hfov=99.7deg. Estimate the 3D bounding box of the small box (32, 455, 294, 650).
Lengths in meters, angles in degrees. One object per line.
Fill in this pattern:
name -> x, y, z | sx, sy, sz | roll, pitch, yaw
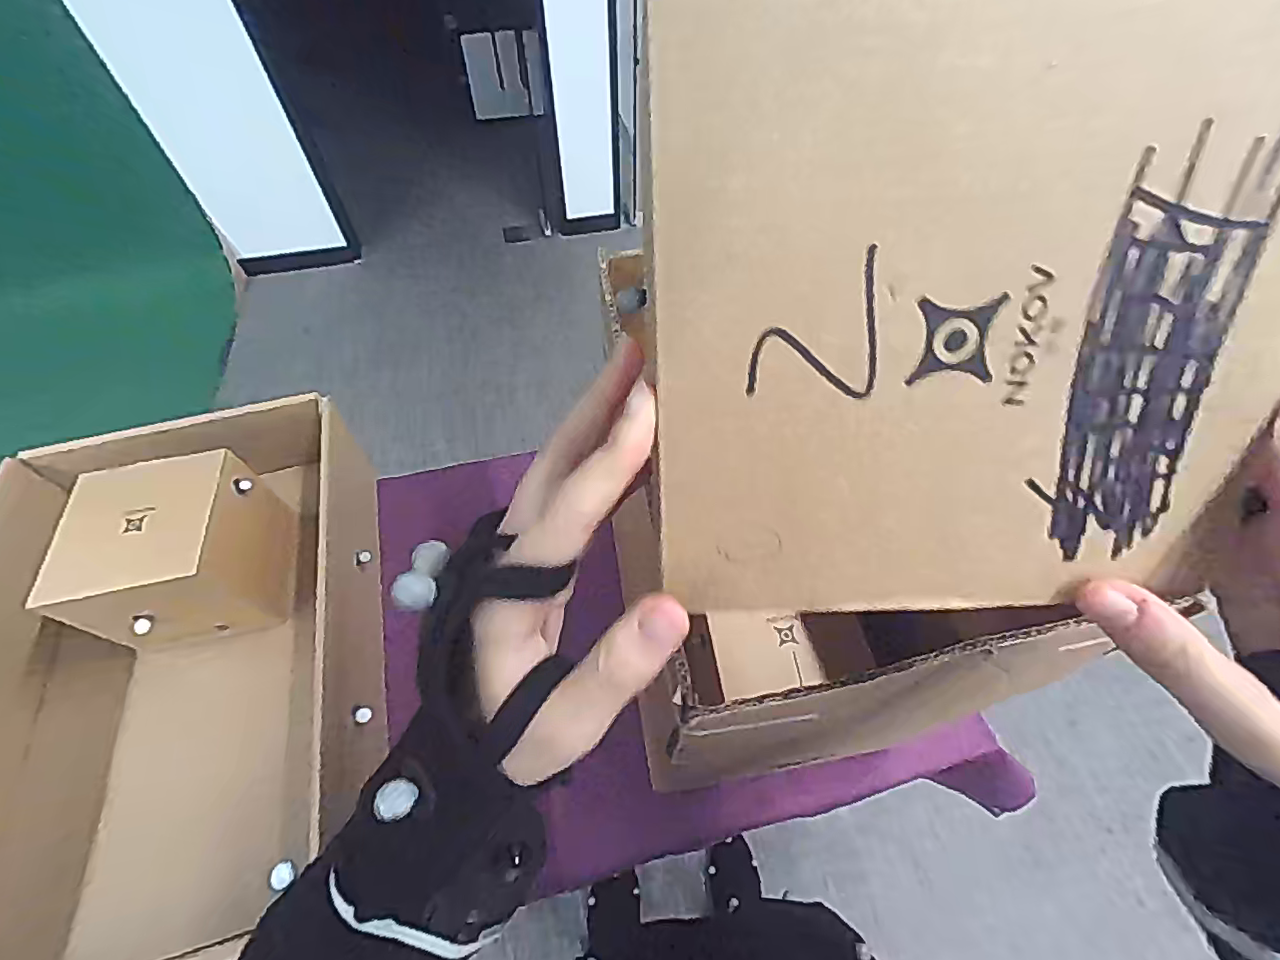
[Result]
small box -> -0.566, 0.098, 0.676 | 0.168, 0.176, 0.179 | -12, 56, -7
